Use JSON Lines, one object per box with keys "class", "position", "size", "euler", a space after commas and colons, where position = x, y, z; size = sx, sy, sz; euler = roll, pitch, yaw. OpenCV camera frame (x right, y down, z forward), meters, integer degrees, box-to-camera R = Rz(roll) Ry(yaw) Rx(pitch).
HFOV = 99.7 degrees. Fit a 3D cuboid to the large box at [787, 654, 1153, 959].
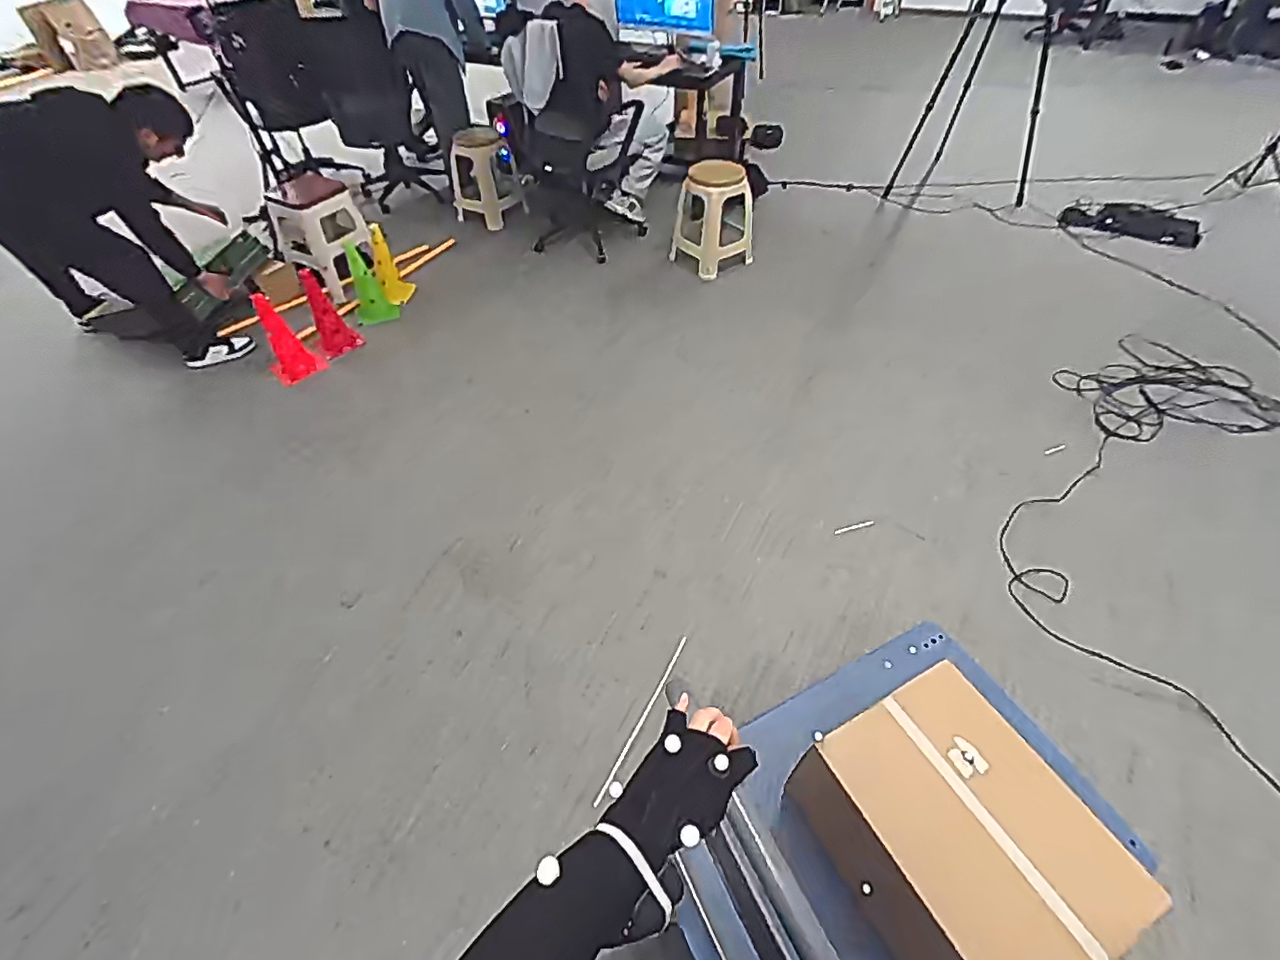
{"class": "large box", "position": [0.524, 0.606, 0.963], "size": [0.320, 0.320, 0.408], "euler": [-23, 51, -16]}
